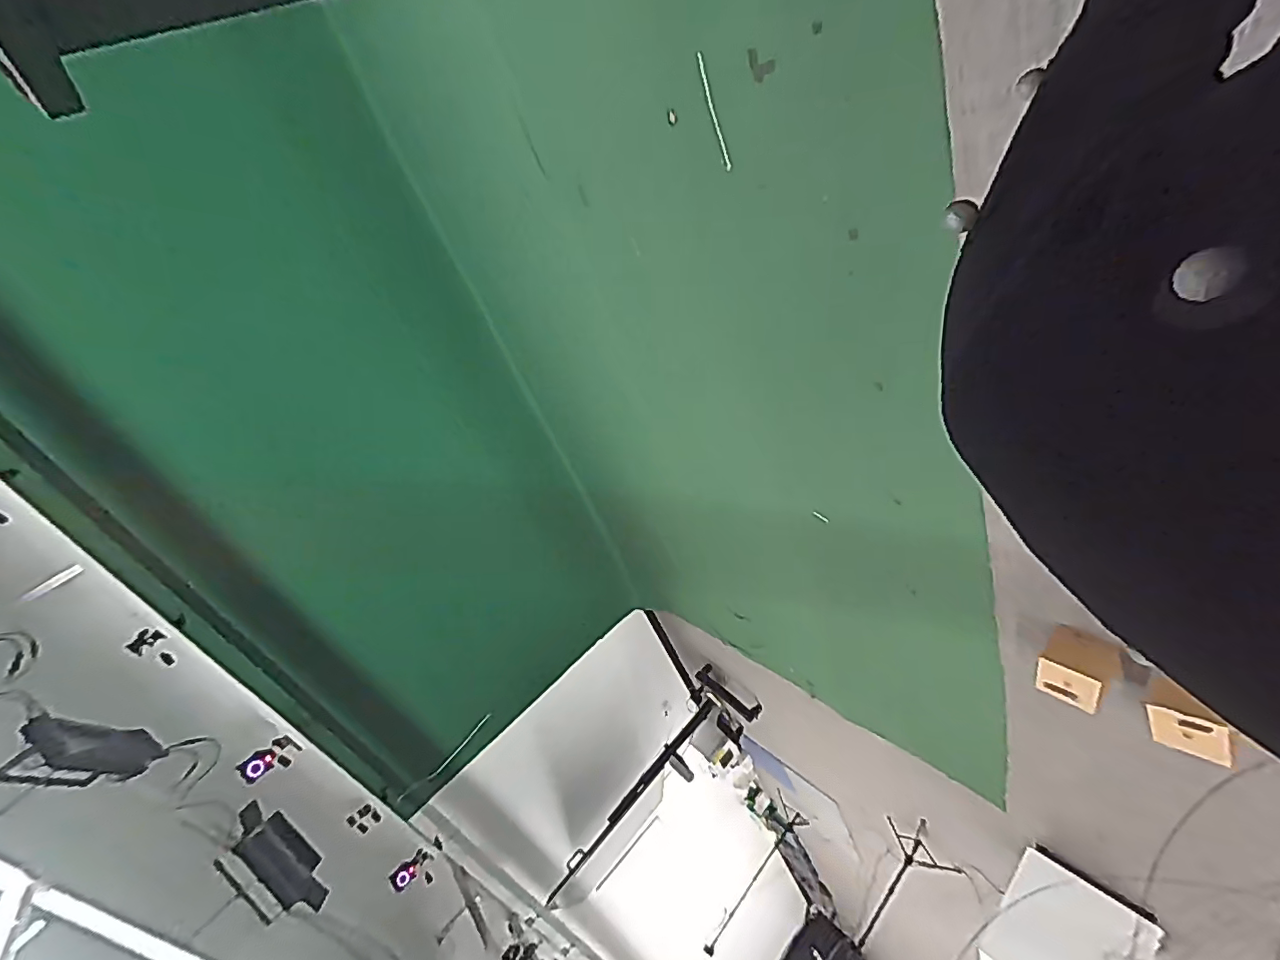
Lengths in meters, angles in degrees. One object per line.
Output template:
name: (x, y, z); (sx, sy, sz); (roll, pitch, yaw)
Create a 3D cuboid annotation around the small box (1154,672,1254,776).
small box: (1.611, 0.686, 1.544); (0.168, 0.176, 0.179); (8, 132, 58)
